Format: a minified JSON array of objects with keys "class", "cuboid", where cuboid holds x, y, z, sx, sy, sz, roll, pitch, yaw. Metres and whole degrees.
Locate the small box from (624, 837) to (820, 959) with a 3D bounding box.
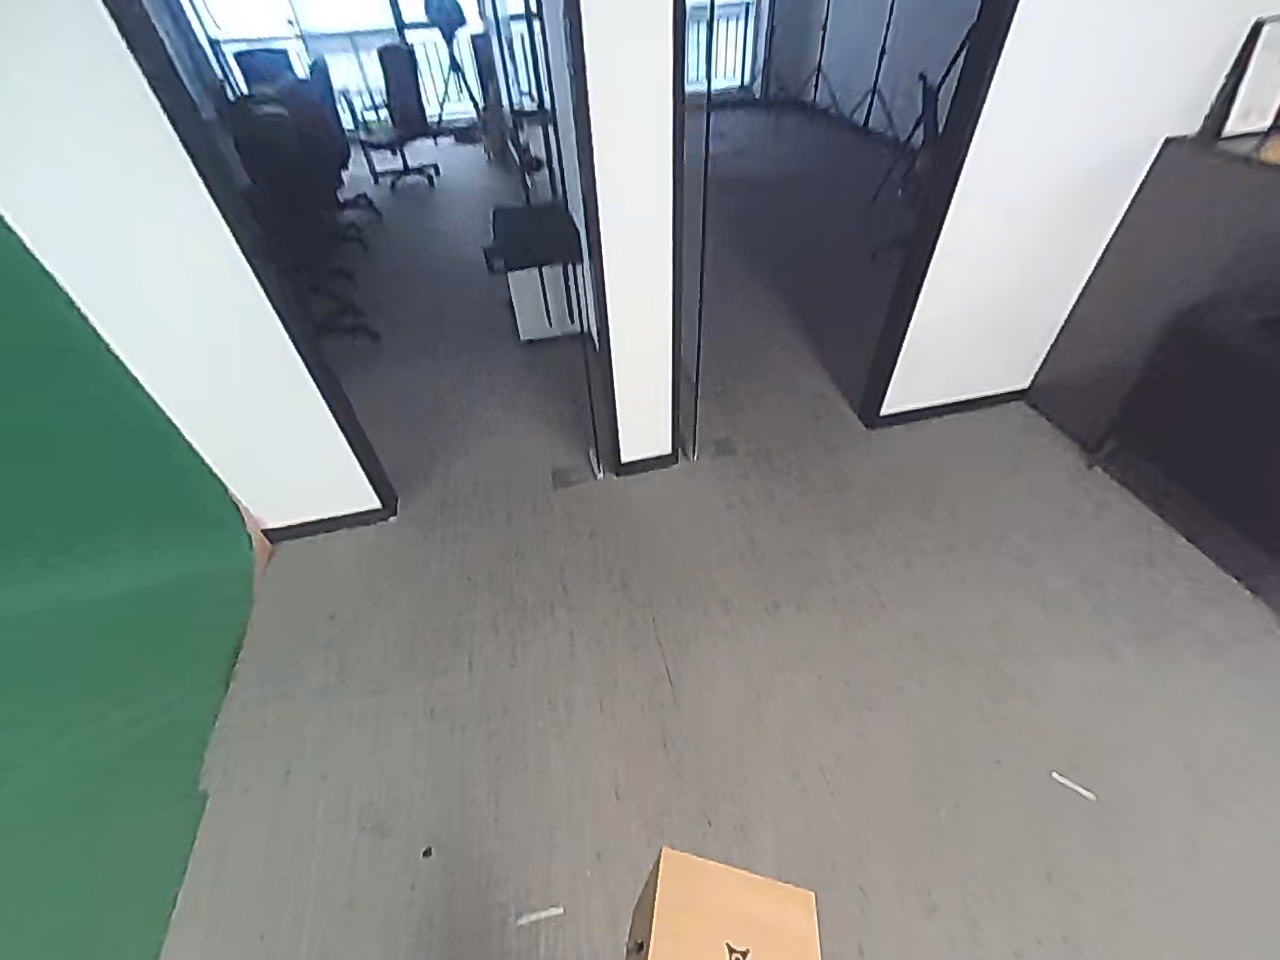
[{"class":"small box","cuboid":[0.066,0.504,0.528,0.168,0.176,0.179,17,35,10]}]
